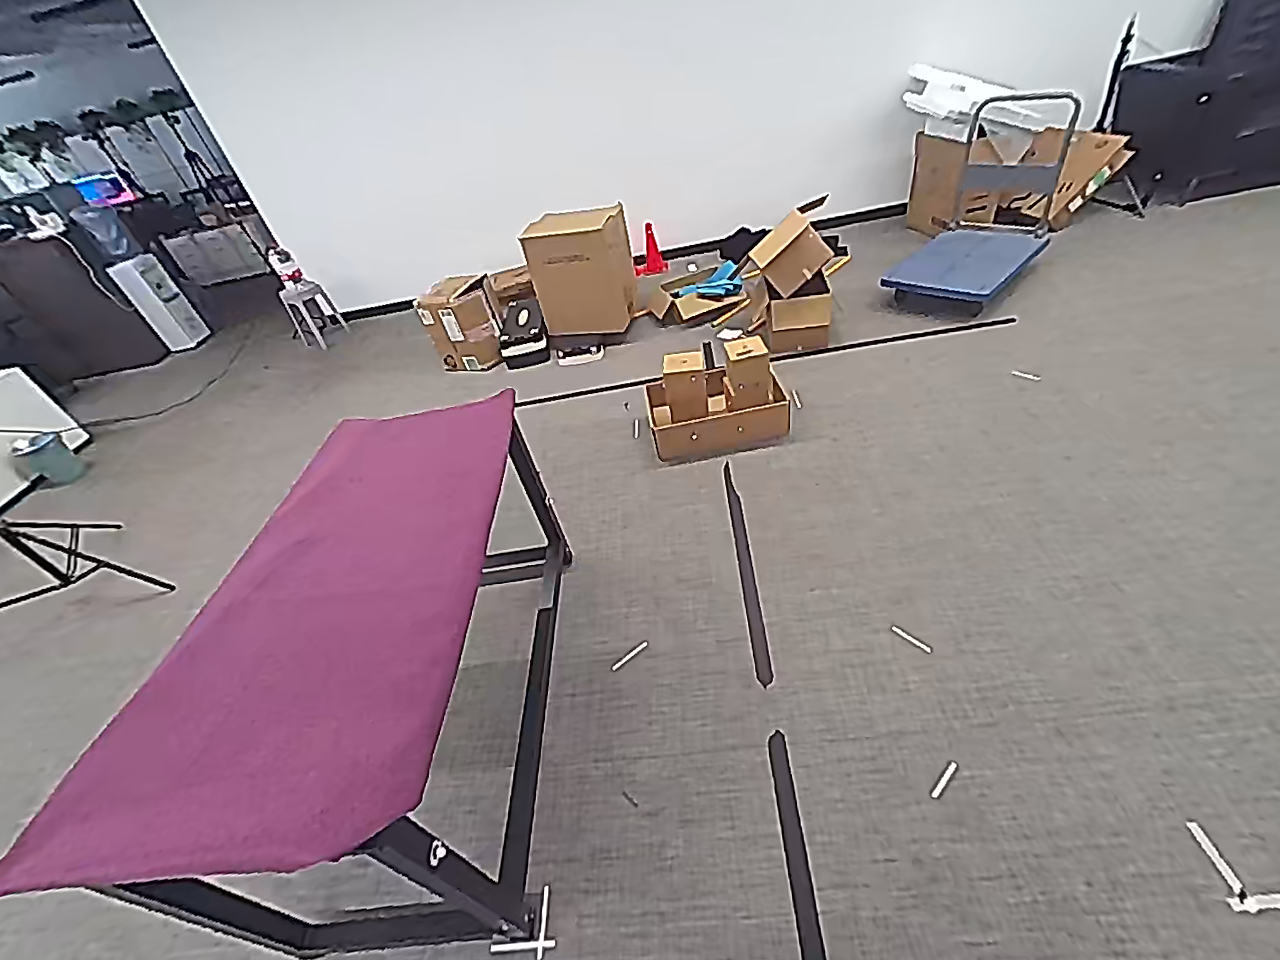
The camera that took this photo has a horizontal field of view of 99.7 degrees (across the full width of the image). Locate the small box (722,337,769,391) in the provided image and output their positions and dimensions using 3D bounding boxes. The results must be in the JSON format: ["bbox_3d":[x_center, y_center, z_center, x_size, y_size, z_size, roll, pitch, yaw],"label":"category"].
[{"bbox_3d":[0.472,-0.511,2.408,0.168,0.176,0.179,-11,38,4],"label":"small box"}]

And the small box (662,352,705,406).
[{"bbox_3d":[0.199,-0.450,2.418,0.179,0.176,0.168,-5,40,9],"label":"small box"}]

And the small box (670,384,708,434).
[{"bbox_3d":[0.230,-0.337,2.536,0.168,0.176,0.179,-3,40,10],"label":"small box"}]
